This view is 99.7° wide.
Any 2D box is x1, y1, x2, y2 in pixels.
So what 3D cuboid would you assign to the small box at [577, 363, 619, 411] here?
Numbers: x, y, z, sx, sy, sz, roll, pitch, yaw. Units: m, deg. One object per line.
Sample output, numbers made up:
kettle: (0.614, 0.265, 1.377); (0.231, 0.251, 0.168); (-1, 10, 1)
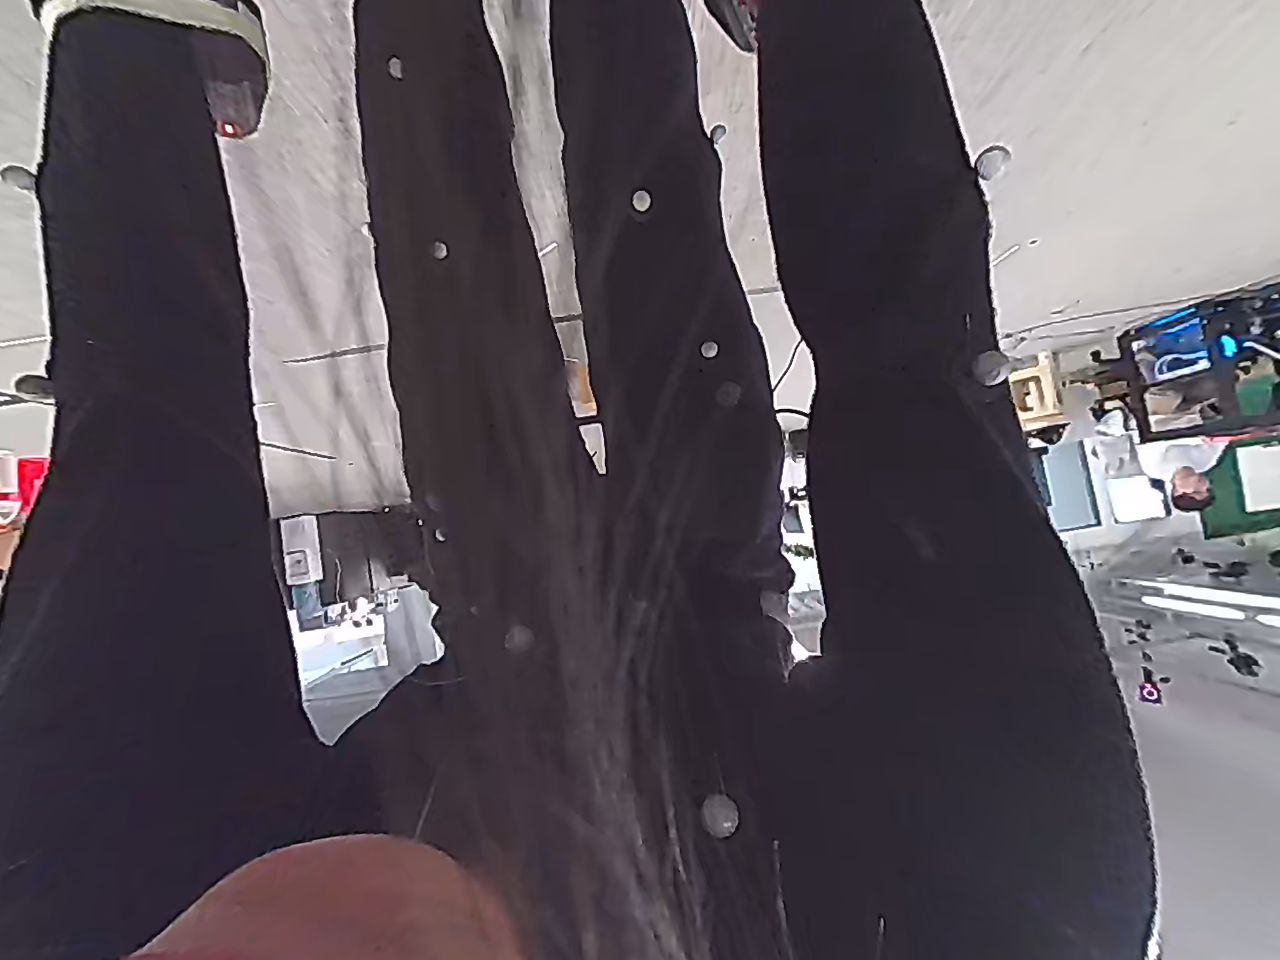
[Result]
small box: (-0.189, -0.423, 2.467); (0.168, 0.176, 0.179); (-9, 175, 0)
